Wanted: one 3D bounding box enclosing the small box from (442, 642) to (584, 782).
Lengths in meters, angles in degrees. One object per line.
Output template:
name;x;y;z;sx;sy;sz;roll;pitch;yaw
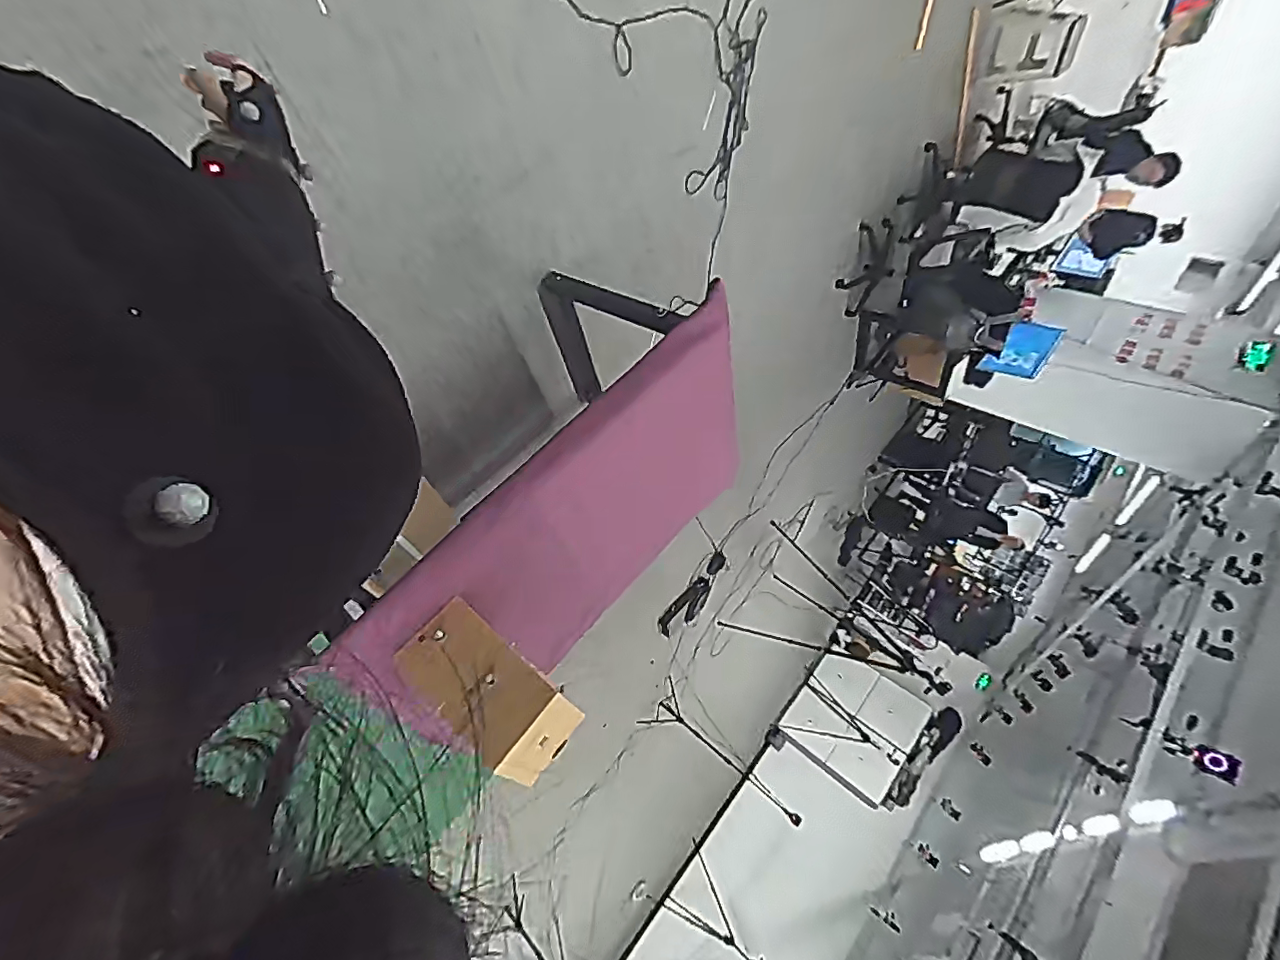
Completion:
small box;-0.240;0.443;1.041;0.168;0.176;0.179;-48;147;-21

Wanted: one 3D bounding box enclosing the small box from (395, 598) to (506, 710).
small box;-0.364;0.375;1.122;0.168;0.176;0.179;-46;146;-22
